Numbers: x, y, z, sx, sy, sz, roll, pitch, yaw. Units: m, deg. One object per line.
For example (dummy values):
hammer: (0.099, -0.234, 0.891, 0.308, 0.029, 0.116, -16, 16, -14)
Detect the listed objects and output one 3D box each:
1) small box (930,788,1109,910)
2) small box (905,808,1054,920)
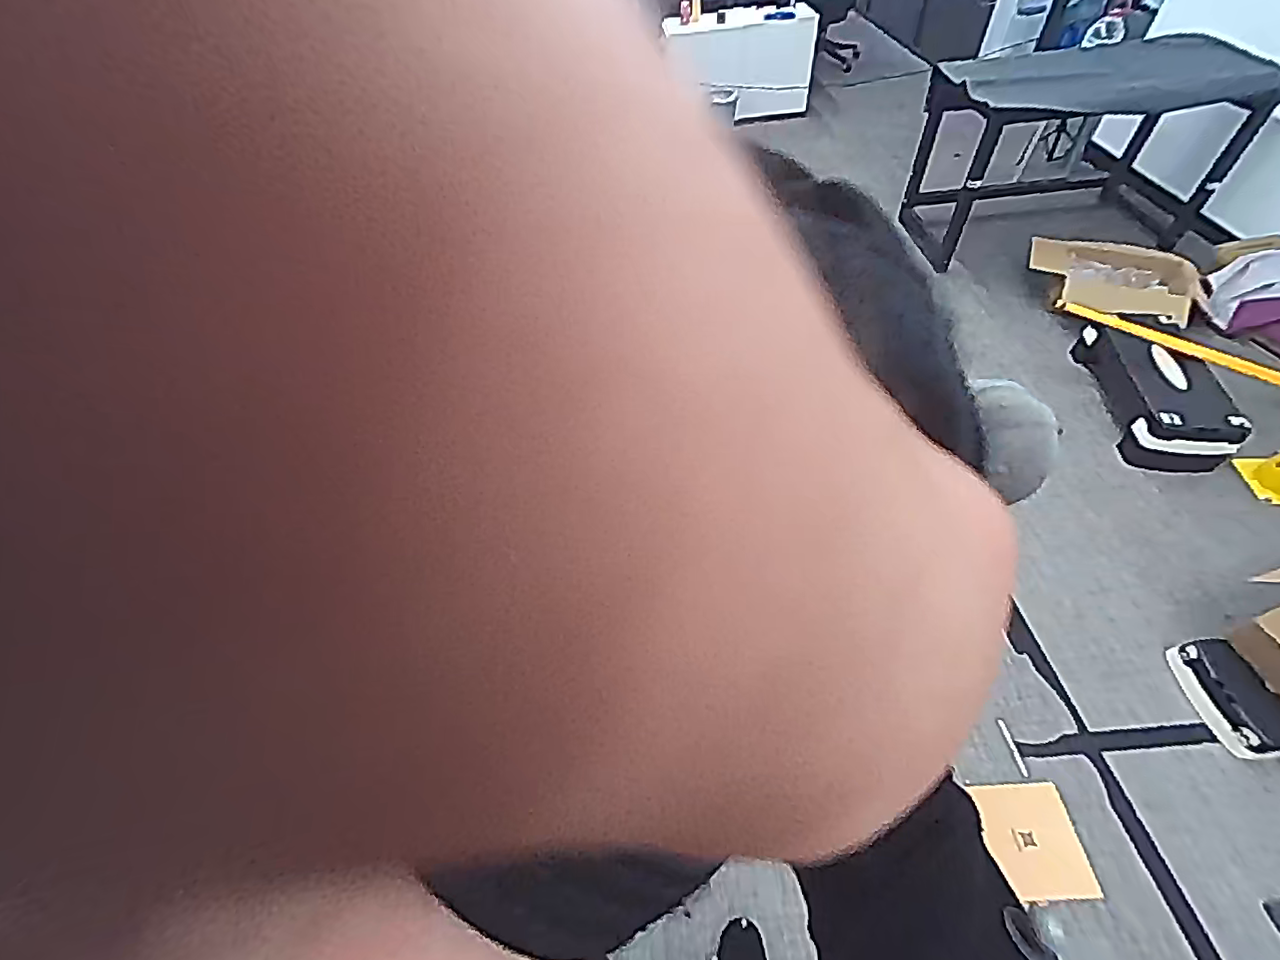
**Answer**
small box: (0.656, 0.655, 0.962, 0.179, 0.176, 0.168, -5, 52, 2)
small box: (0.662, 0.764, 1.084, 0.168, 0.176, 0.179, -6, 53, 1)
